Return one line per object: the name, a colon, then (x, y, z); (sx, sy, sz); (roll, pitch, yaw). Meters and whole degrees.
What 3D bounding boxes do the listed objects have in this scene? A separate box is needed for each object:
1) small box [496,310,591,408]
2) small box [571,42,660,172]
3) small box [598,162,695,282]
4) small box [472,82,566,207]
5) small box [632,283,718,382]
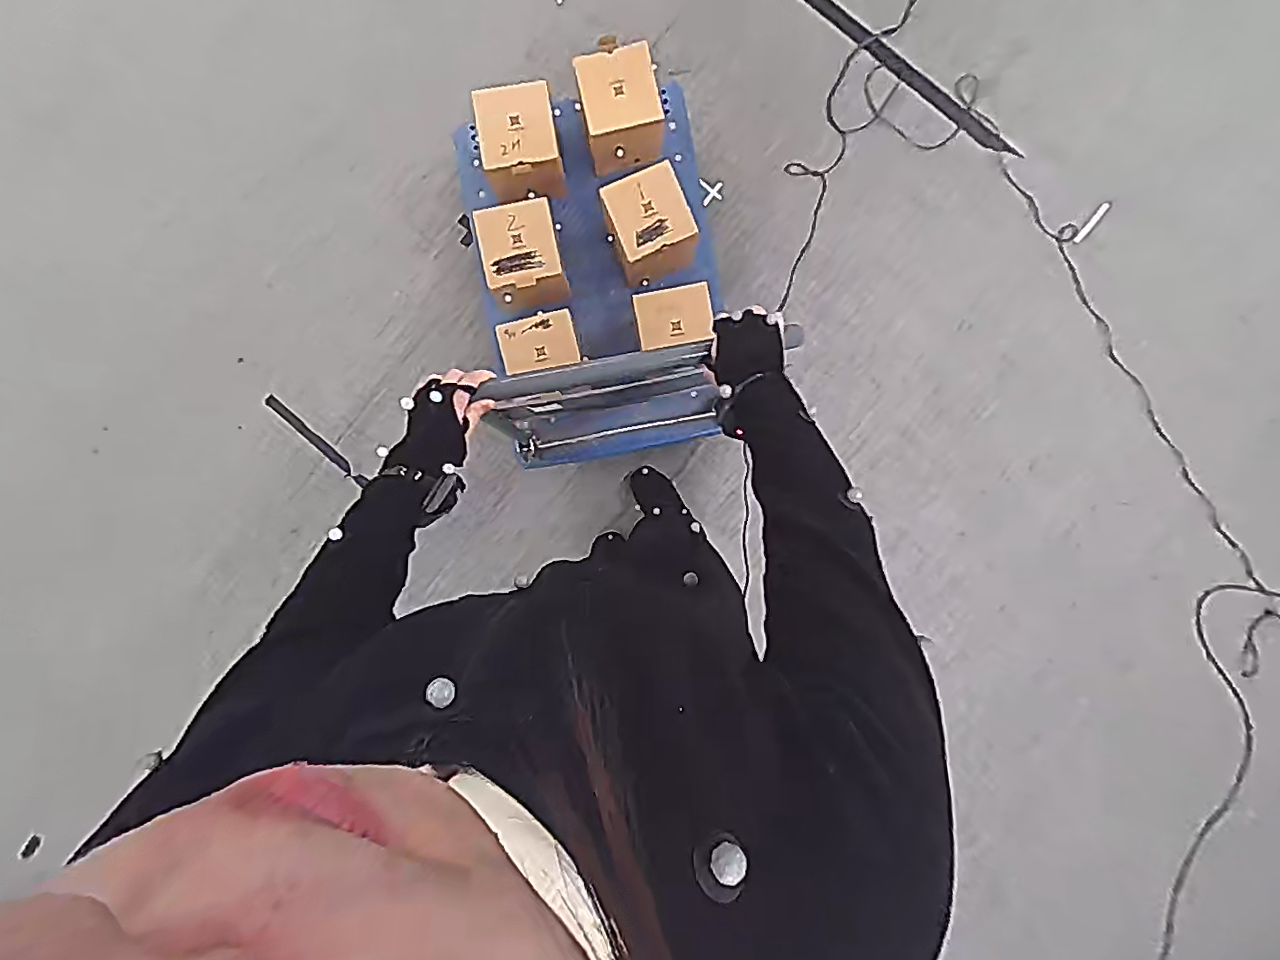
small box: (-0.214, -0.269, 1.248); (0.168, 0.176, 0.179); (-14, 90, -1)
small box: (-0.051, -0.845, 1.248); (0.168, 0.176, 0.179); (-14, 90, 0)
small box: (0.017, -0.580, 1.248); (0.168, 0.176, 0.179); (-22, 89, 0)
small box: (-0.272, -0.765, 1.246); (0.168, 0.176, 0.179); (-9, 91, 0)
small box: (0.078, -0.330, 1.249); (0.168, 0.176, 0.179); (-10, 89, 0)
